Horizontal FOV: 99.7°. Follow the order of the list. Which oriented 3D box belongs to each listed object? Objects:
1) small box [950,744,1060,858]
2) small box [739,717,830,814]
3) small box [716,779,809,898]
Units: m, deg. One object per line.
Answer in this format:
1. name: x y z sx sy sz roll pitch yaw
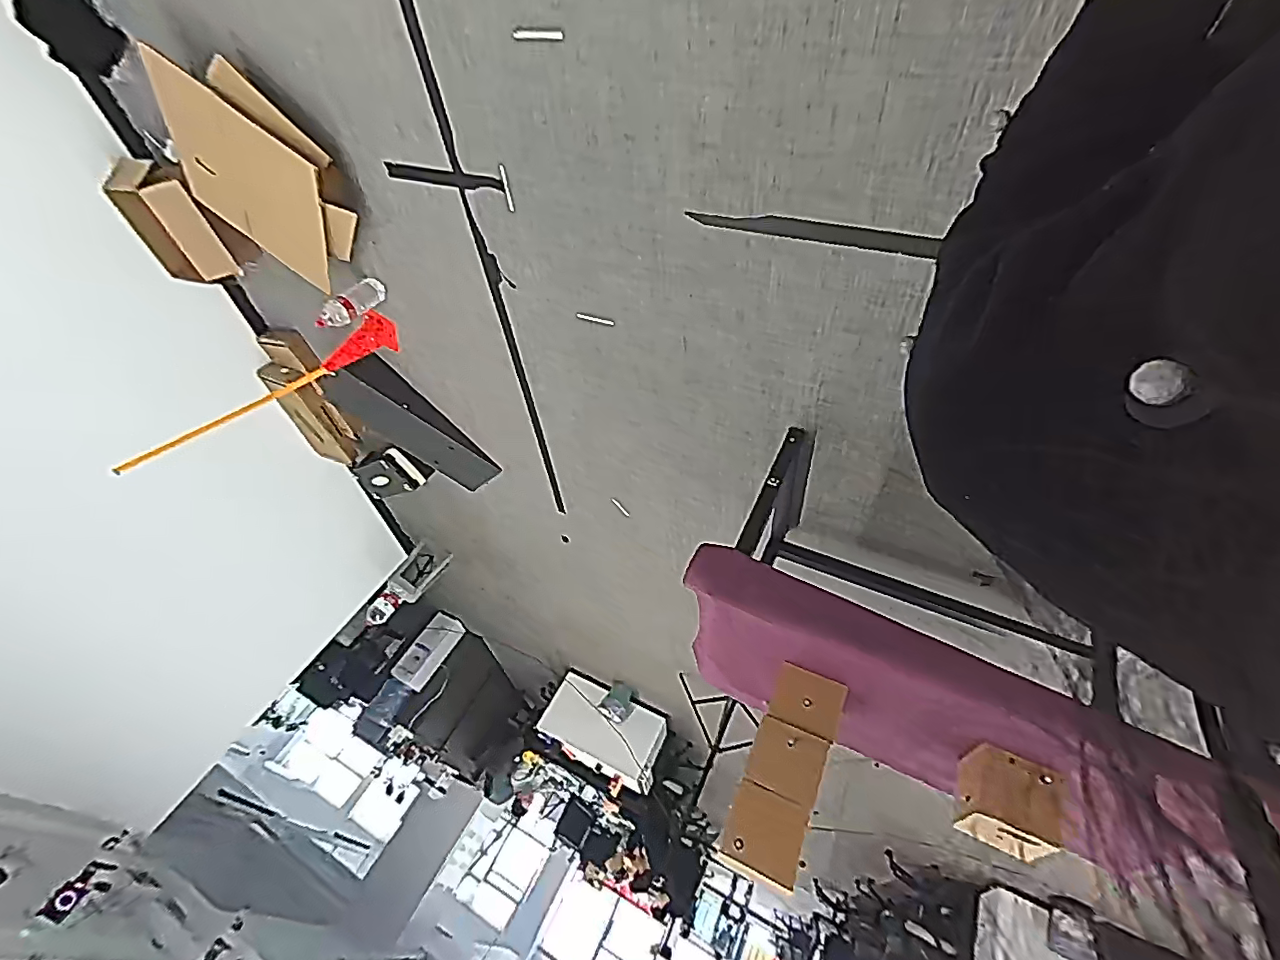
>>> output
1. small box: 0.872 0.765 1.297 0.168 0.176 0.179 19 143 21
2. small box: 0.365 0.730 1.374 0.179 0.176 0.168 15 142 25
3. small box: 0.293 0.847 1.287 0.179 0.176 0.168 15 141 24
